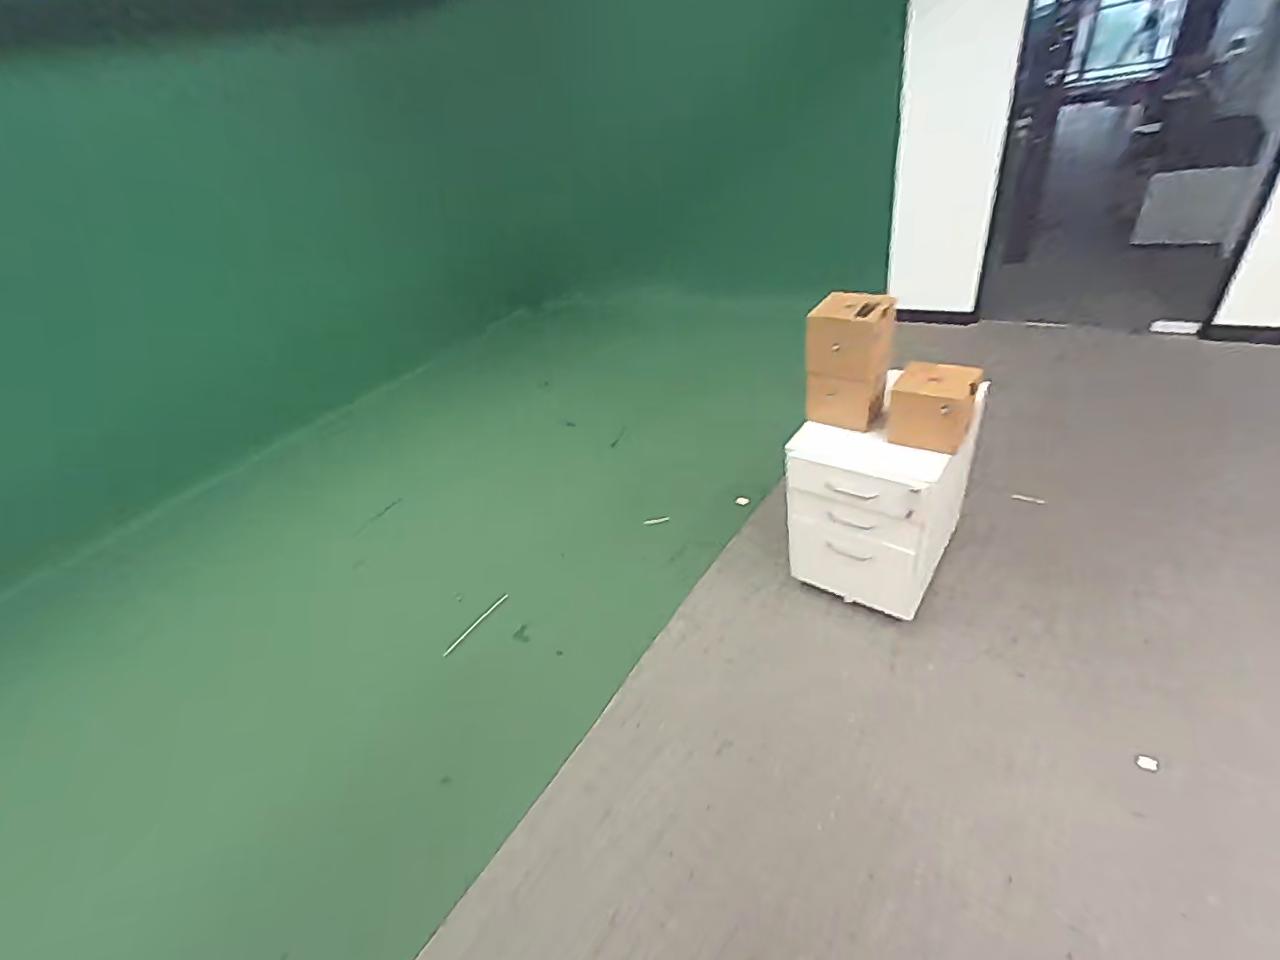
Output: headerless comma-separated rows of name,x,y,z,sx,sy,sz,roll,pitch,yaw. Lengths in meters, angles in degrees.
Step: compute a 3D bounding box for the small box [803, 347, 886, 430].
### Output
small box,0.588,-0.265,1.562,0.179,0.176,0.168,19,48,35
